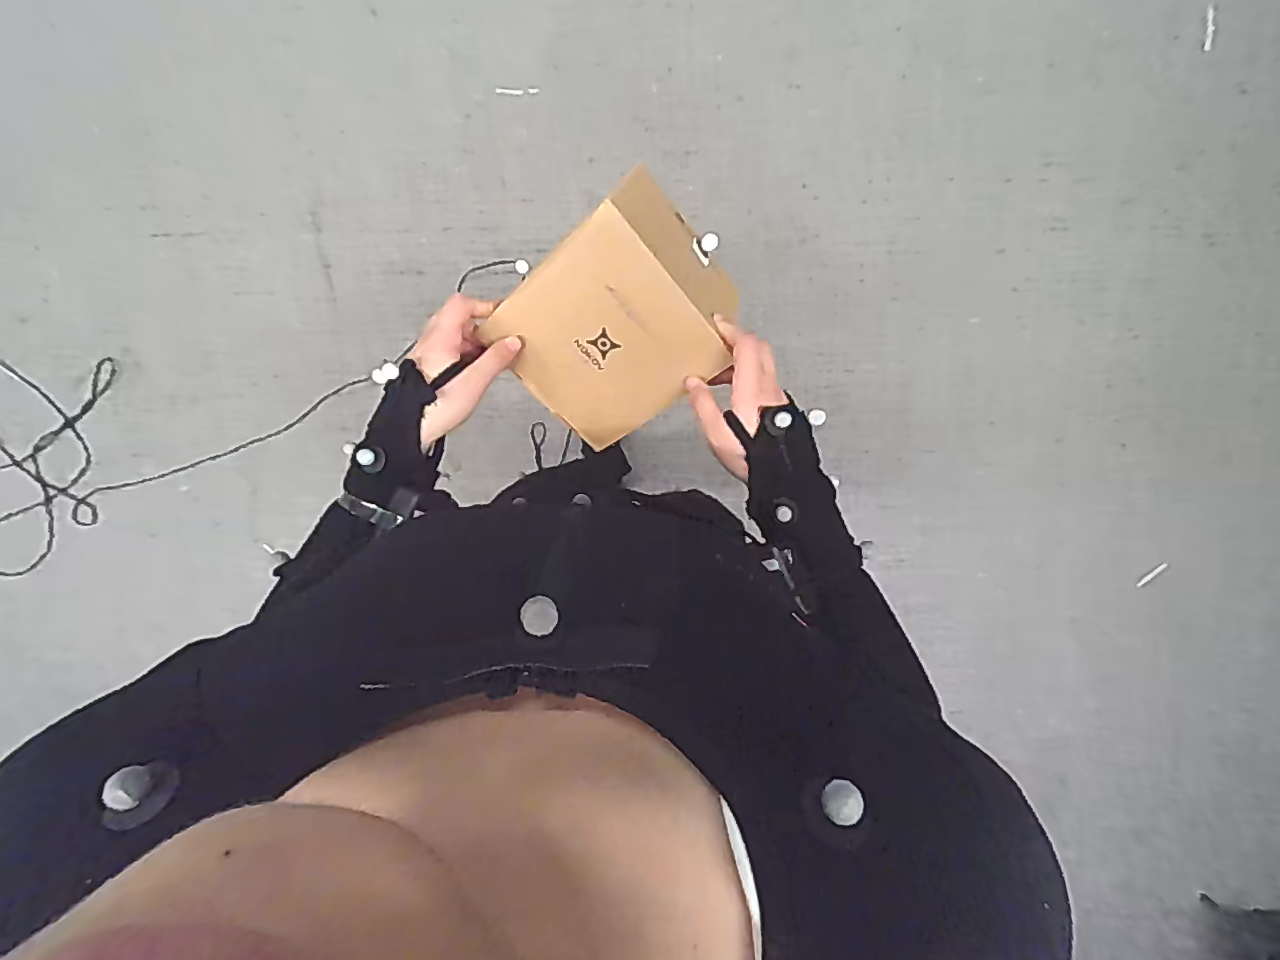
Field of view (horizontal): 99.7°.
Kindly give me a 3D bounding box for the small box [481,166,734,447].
[{"bbox_3d":[-0.018,-0.172,0.540,0.179,0.176,0.168,-32,118,31],"label":"small box"}]
